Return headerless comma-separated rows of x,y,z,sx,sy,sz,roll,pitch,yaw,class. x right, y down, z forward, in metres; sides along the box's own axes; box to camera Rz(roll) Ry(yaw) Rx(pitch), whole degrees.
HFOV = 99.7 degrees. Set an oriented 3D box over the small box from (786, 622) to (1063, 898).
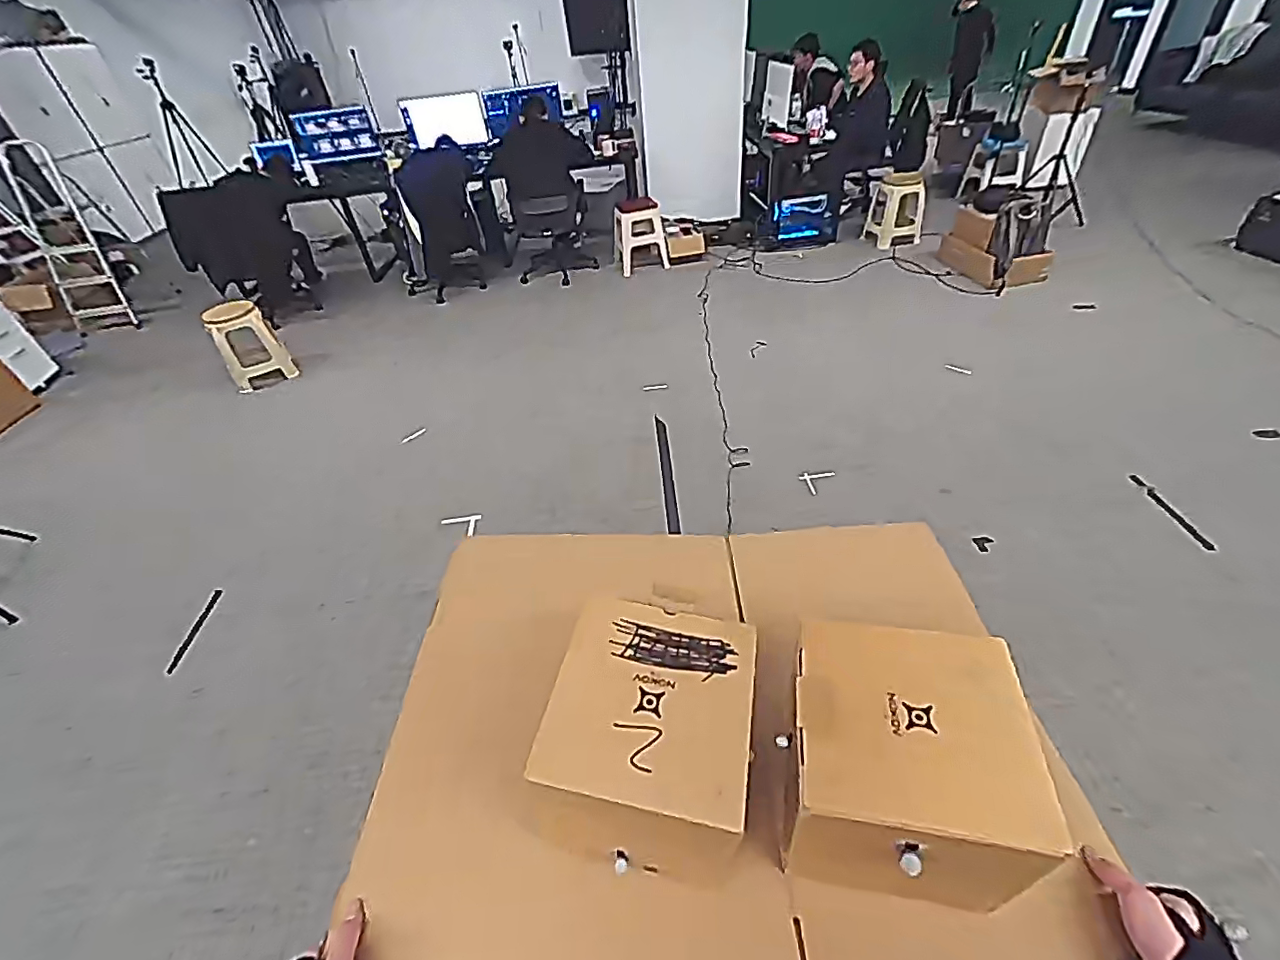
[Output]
0.230,0.255,0.496,0.179,0.176,0.168,2,42,13,small box
